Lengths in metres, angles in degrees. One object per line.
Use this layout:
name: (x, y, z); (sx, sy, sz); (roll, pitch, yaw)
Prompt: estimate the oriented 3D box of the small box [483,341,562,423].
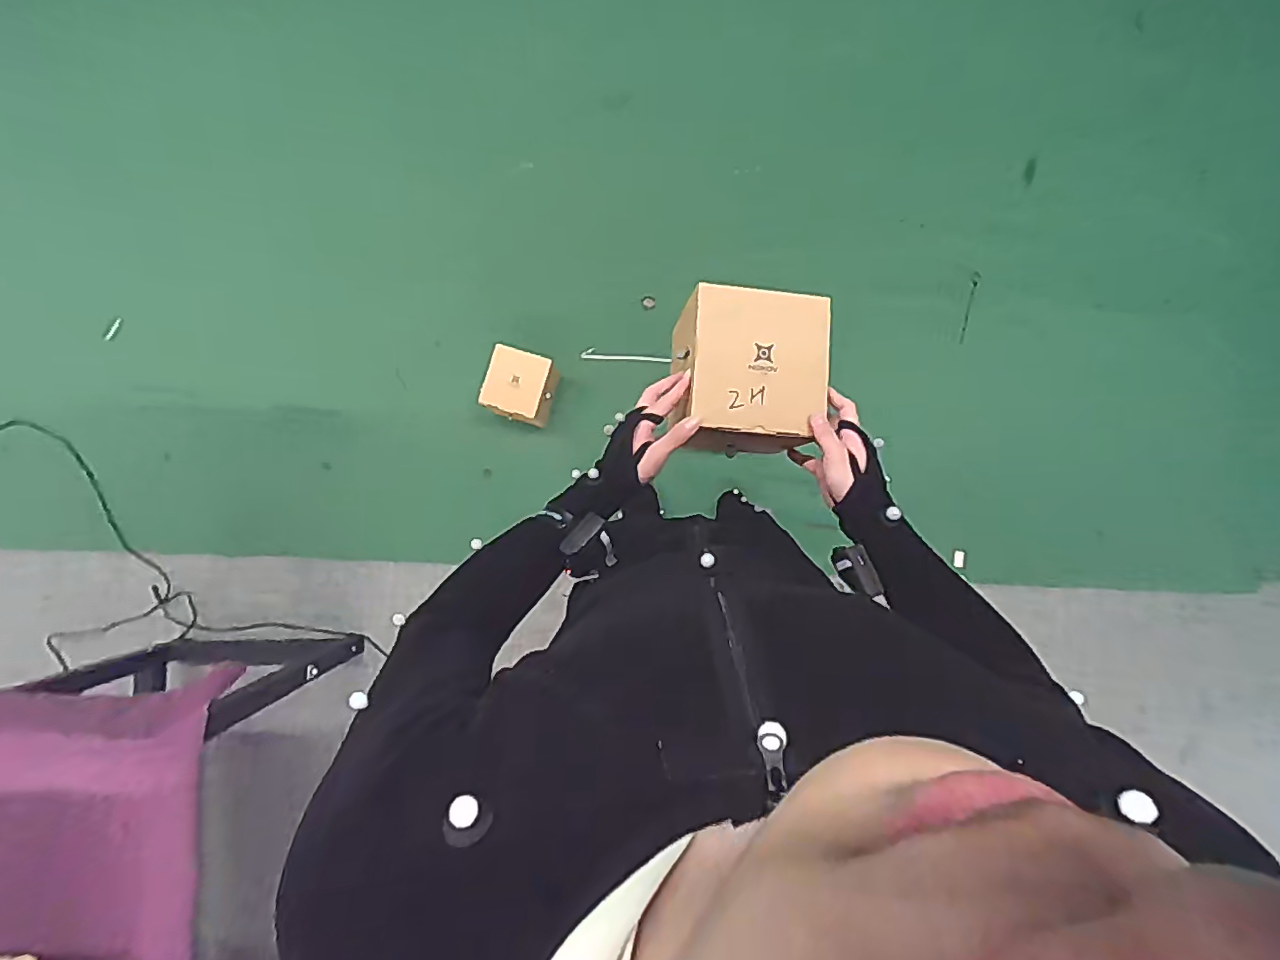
small box: (-0.333, -0.279, 1.574); (0.168, 0.176, 0.179); (17, 89, 1)
